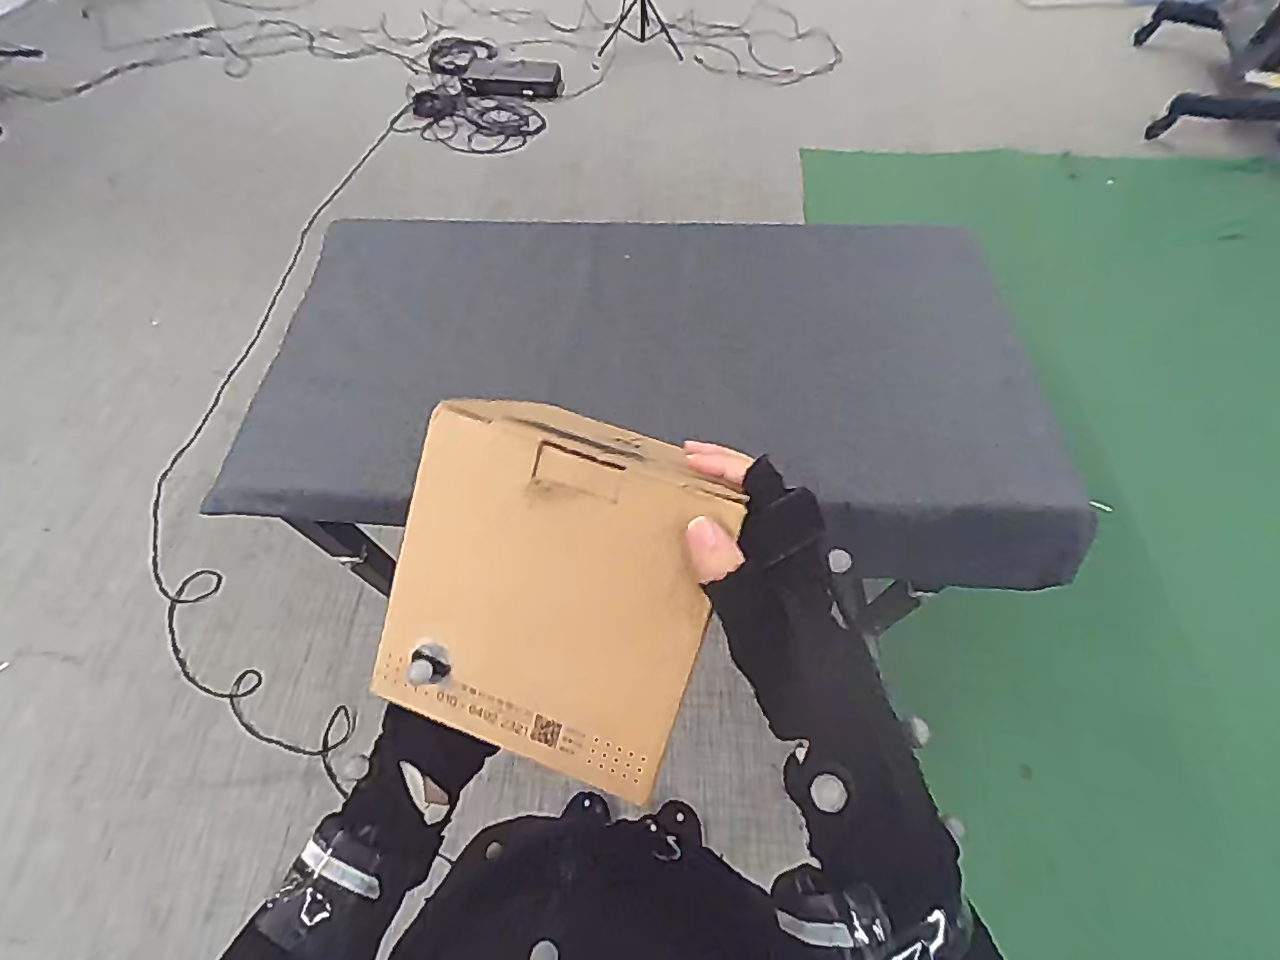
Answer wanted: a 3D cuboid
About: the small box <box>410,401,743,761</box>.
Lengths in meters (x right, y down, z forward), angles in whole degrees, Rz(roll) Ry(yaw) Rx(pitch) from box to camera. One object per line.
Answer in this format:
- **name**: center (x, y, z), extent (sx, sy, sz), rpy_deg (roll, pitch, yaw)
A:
- **small box**: center (-0.034, 0.052, 0.374), extent (0.168, 0.179, 0.176), rpy_deg (19, 99, 8)
